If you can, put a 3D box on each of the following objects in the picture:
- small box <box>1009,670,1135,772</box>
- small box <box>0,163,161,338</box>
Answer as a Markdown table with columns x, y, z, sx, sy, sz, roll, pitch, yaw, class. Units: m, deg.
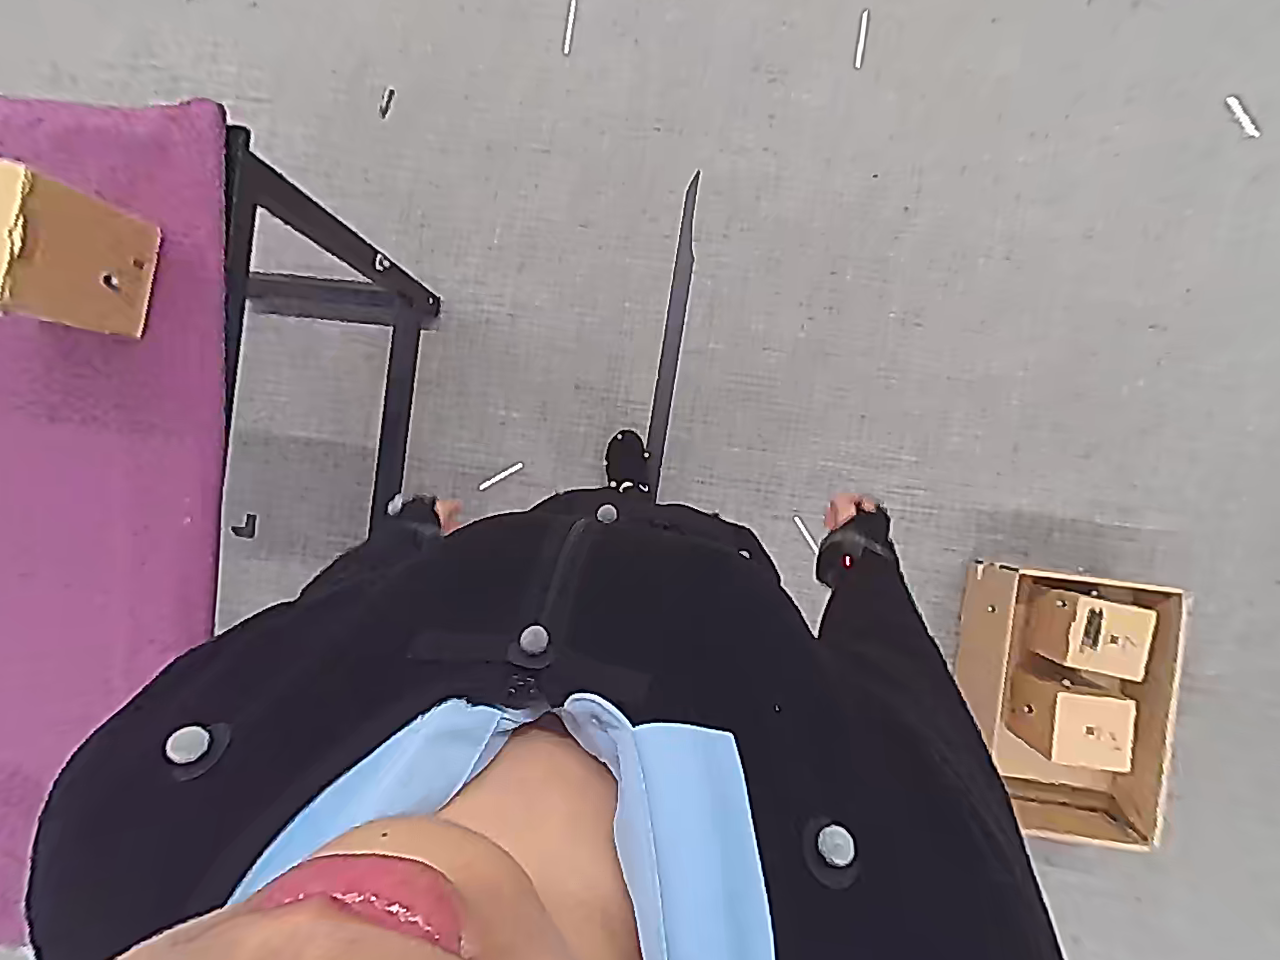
| x | y | z | sx | sy | sz | roll | pitch | yaw | class |
| --- | --- | --- | --- | --- | --- | --- | --- | --- | --- |
| 1.040 | 0.576 | 1.316 | 0.179 | 0.176 | 0.168 | 6 | 90 | 3 | small box |
| -0.804 | -0.300 | 0.716 | 0.179 | 0.176 | 0.168 | 12 | 91 | 4 | small box |
